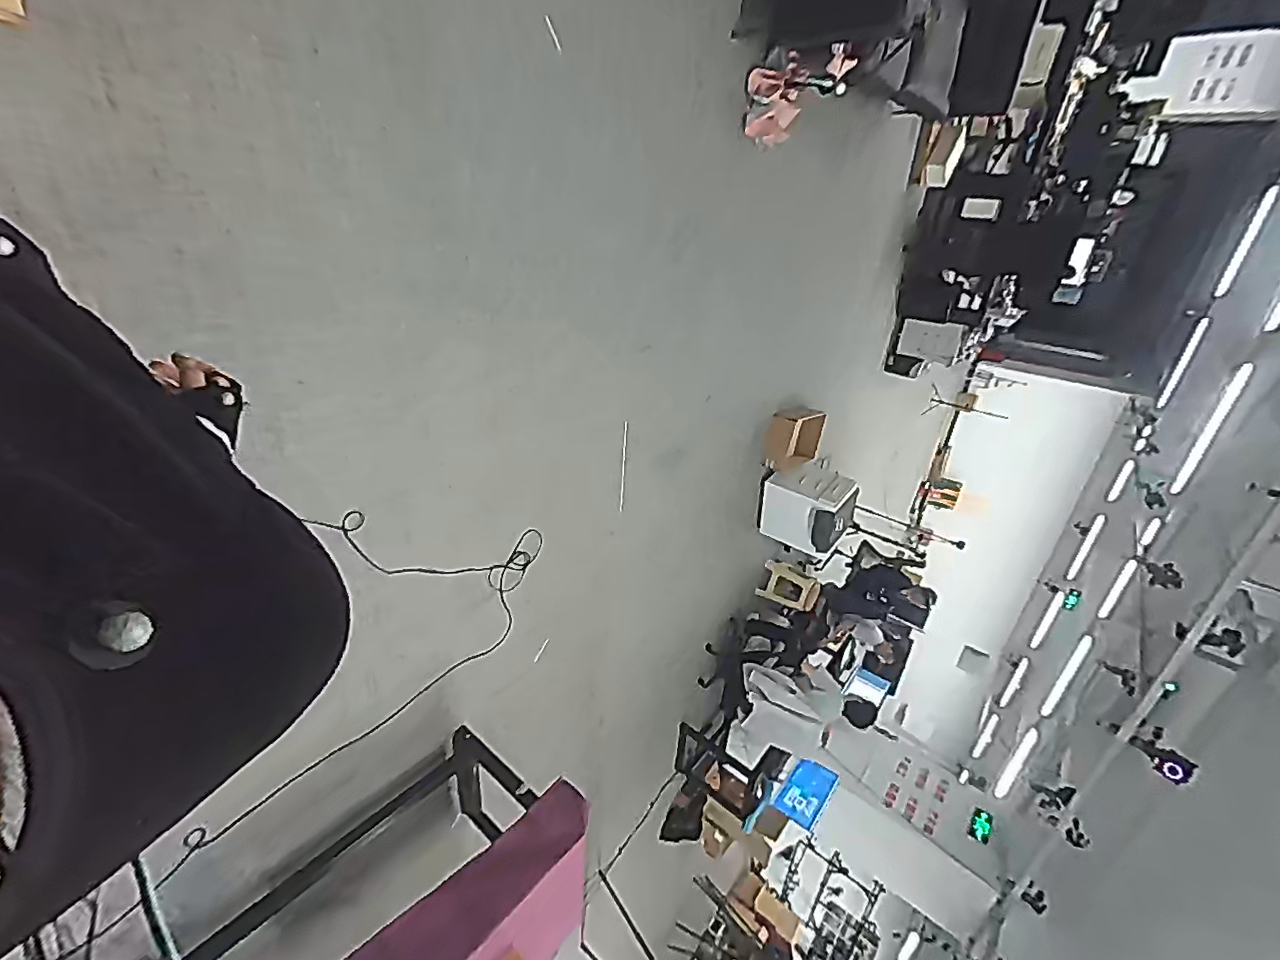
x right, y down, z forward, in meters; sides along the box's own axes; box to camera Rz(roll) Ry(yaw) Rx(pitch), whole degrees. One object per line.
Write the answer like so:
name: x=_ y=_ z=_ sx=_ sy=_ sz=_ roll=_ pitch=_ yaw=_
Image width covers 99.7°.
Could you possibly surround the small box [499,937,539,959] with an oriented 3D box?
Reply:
small box: x=-0.408 y=1.684 z=1.792 sx=0.179 sy=0.176 sz=0.168 roll=-29 pitch=132 yaw=-41
